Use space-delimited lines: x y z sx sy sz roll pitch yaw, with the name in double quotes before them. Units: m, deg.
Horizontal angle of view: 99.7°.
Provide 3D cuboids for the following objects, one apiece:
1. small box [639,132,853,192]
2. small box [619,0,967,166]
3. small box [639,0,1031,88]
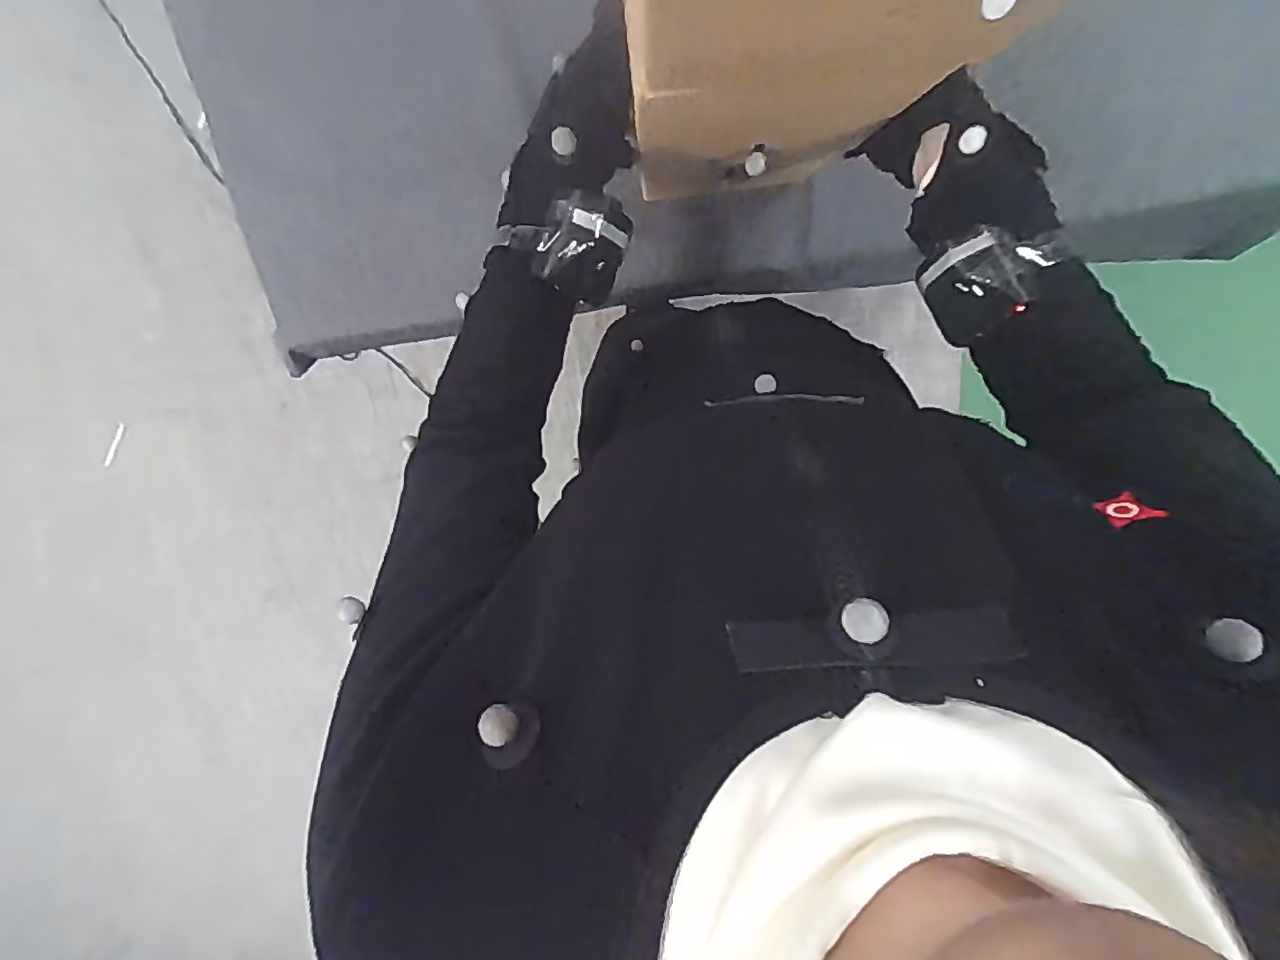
"small box" 0.081 -0.373 0.488 0.179 0.176 0.168 -6 108 3
"small box" 0.076 -0.314 0.336 0.179 0.176 0.168 -5 106 1
"small box" 0.082 -0.264 0.181 0.179 0.176 0.168 -4 106 3
